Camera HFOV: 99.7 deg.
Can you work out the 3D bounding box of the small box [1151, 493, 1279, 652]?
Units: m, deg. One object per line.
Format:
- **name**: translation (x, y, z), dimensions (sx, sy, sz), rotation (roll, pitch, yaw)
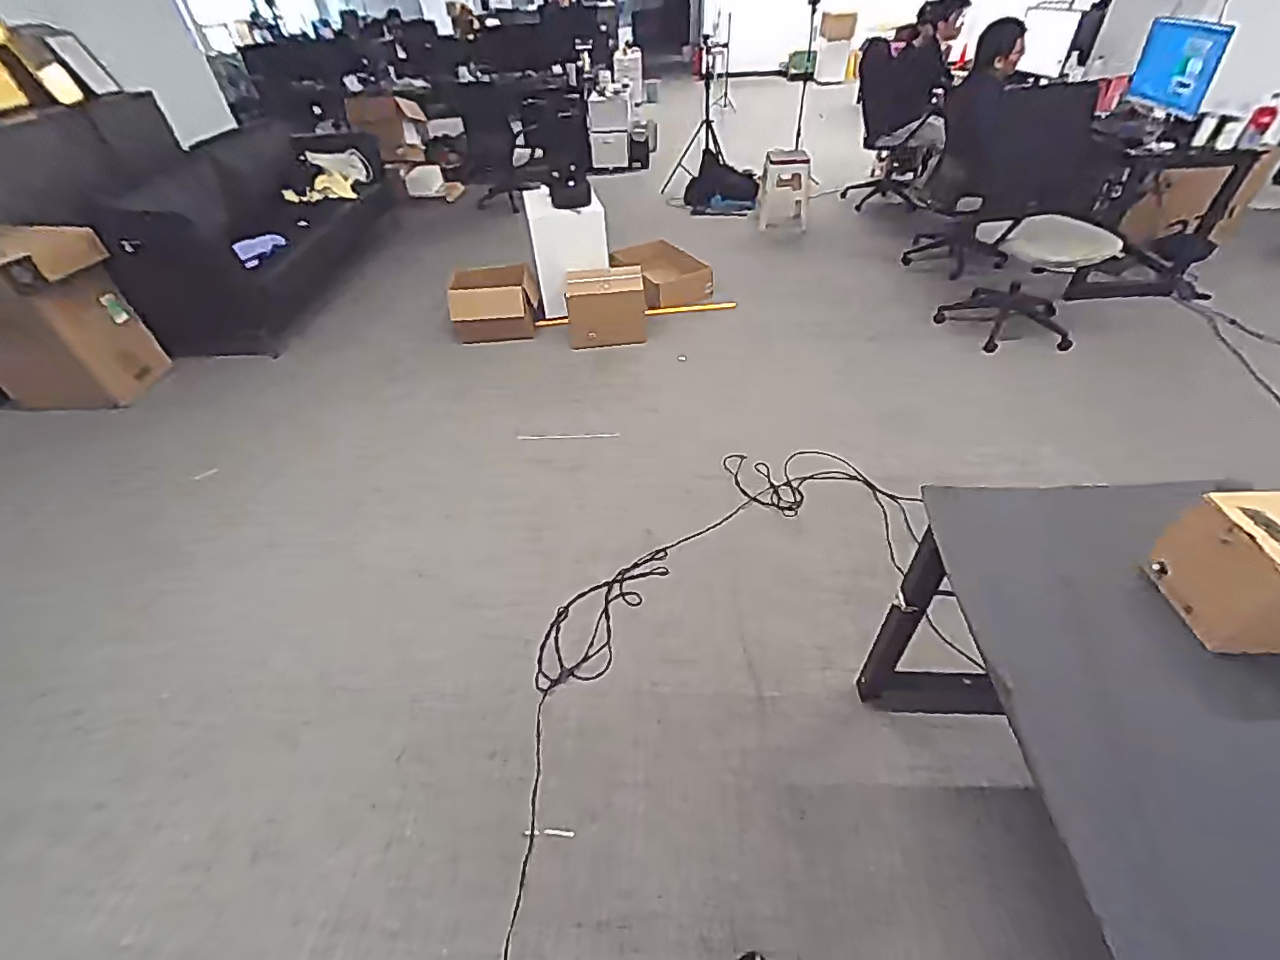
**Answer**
- **small box**: translation (0.904, 0.135, 0.780), dimensions (0.179, 0.176, 0.168), rotation (0, 43, 3)
